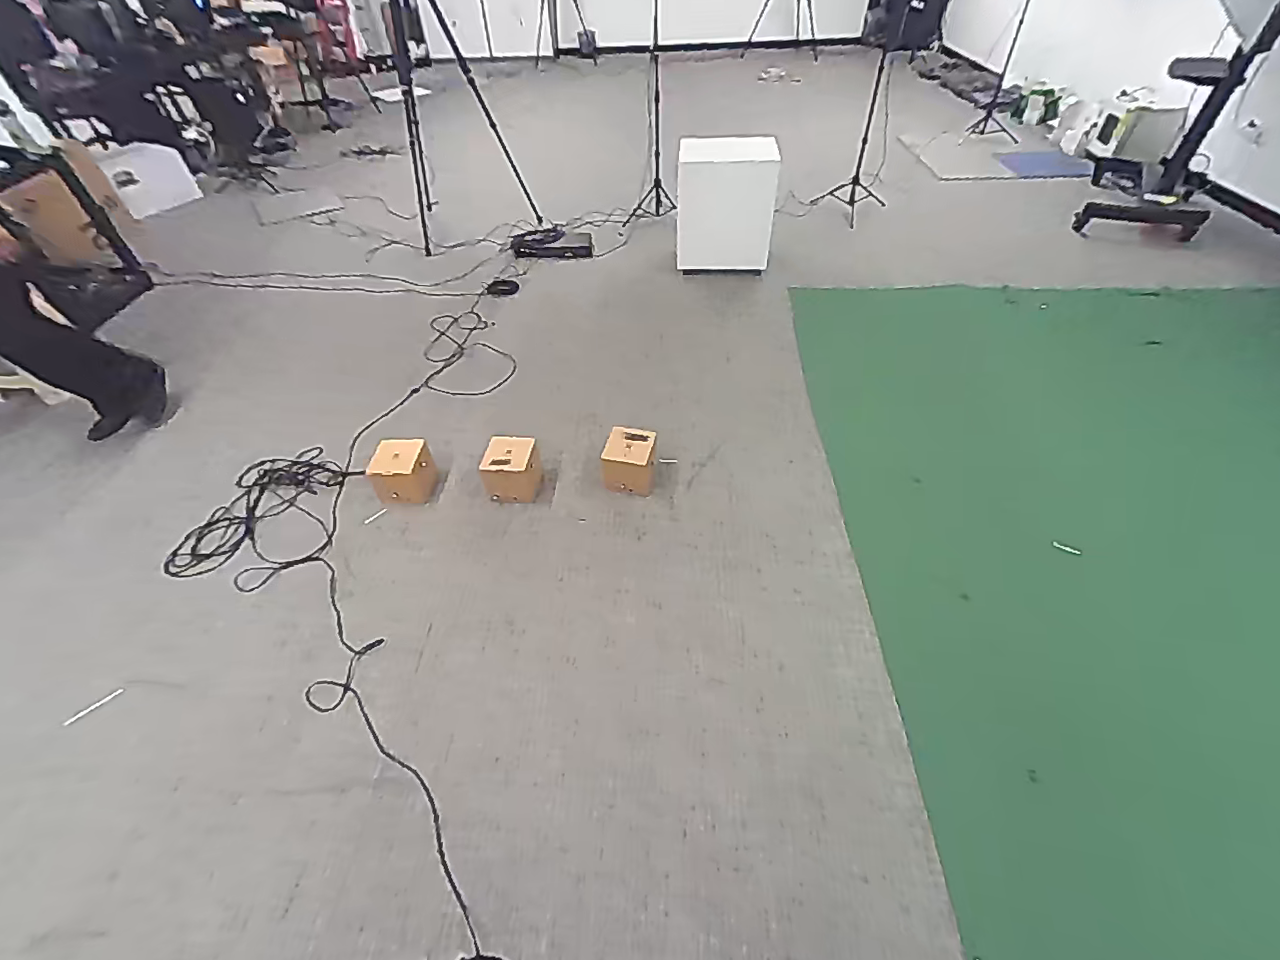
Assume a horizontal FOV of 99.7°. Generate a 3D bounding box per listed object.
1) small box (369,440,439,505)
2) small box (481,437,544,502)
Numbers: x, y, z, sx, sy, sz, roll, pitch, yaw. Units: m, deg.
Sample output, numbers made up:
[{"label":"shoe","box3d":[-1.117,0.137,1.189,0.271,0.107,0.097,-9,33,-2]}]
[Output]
[{"label":"small box","box3d":[-0.864,-0.029,2.001,0.168,0.176,0.179,-1,47,3]},{"label":"small box","box3d":[-0.461,-0.037,1.985,0.168,0.176,0.179,3,47,6]}]
